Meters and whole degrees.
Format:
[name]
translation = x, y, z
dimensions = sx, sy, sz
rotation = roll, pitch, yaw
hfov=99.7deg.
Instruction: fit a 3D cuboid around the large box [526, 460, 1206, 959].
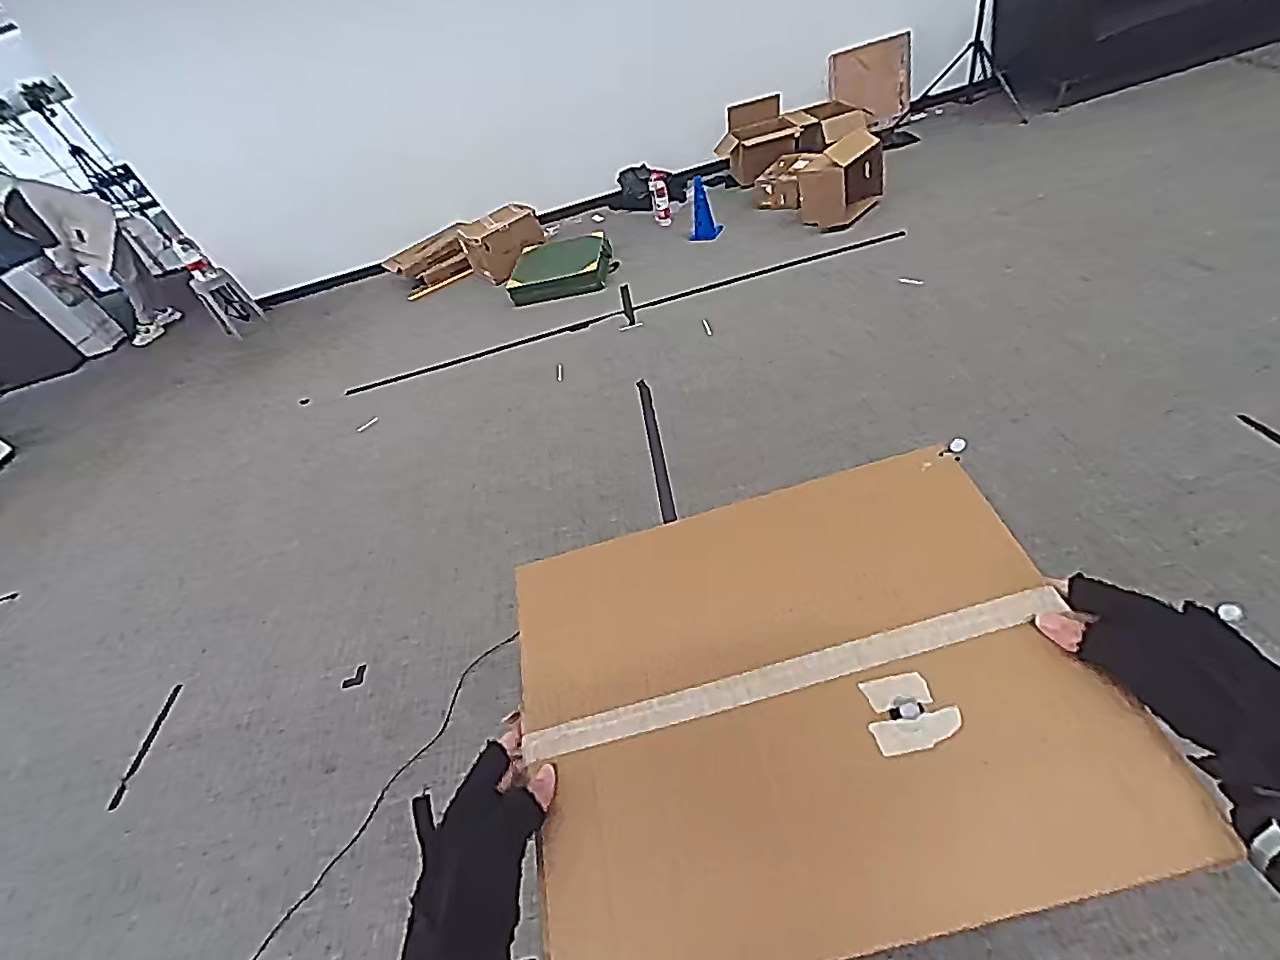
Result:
[large box]
translation = 0.142, 0.241, 0.528
dimensions = 0.408, 0.320, 0.320
rotation = -17, 53, 2
